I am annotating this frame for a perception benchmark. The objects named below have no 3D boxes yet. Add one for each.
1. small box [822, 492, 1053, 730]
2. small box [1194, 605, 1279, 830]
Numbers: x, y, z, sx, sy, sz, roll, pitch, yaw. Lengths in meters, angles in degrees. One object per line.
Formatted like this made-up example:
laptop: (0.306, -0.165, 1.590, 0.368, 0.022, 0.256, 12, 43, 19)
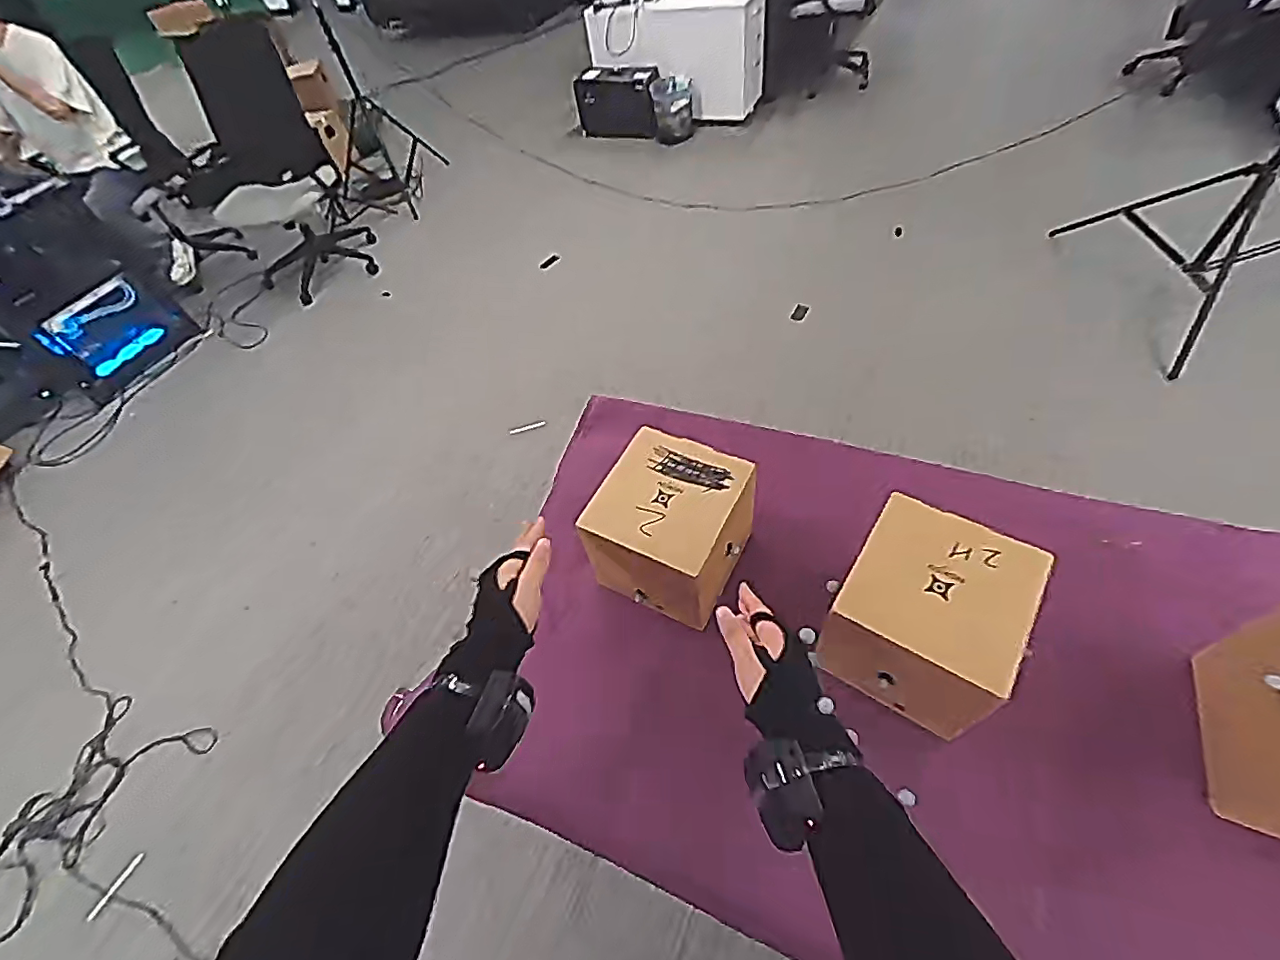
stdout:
small box: (0.323, 0.153, 0.619, 0.168, 0.176, 0.179, 27, 61, 26)
small box: (0.669, 0.239, 0.495, 0.168, 0.176, 0.179, 15, 56, 21)
